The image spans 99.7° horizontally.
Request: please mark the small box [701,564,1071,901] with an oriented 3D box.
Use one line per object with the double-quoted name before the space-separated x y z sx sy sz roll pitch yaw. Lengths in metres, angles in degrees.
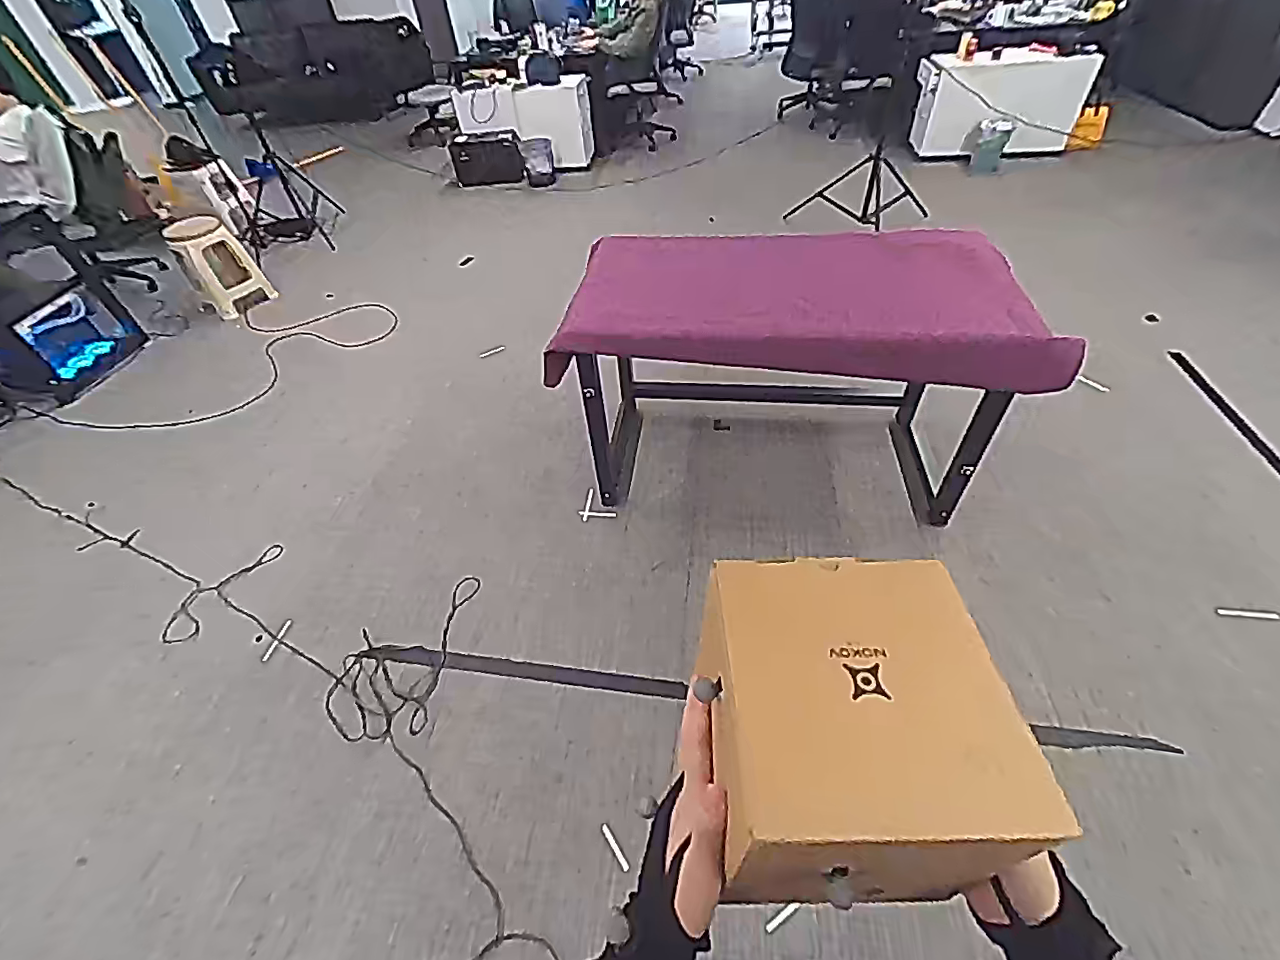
"small box" 0.137 0.180 0.386 0.168 0.176 0.179 0 42 -1
